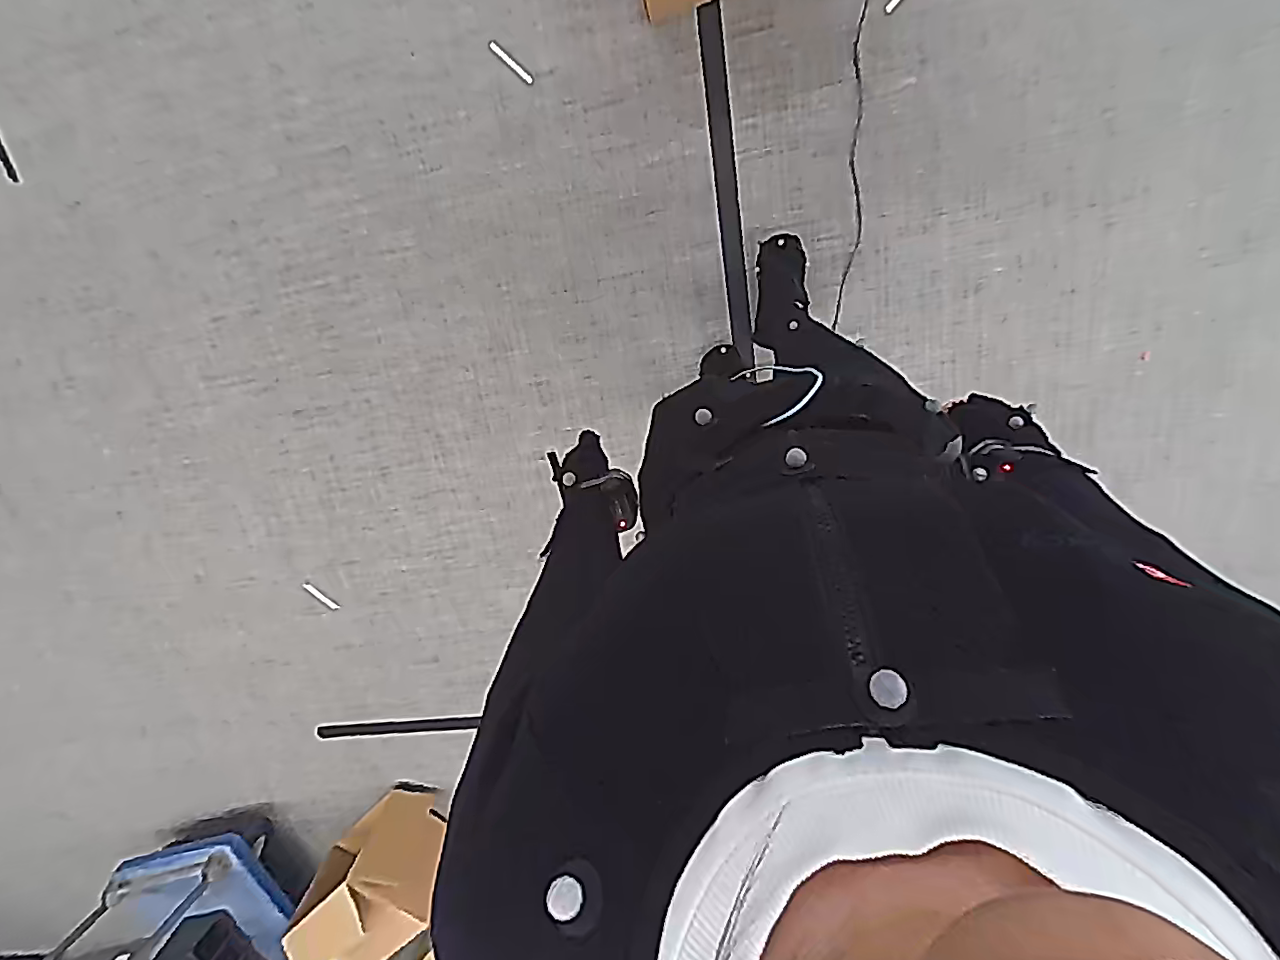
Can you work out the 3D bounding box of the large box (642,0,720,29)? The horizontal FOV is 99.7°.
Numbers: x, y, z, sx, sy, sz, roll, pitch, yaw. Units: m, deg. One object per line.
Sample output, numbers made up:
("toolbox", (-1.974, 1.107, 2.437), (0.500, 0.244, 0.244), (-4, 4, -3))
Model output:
("large box", (0.149, -1.124, 0.962), (0.408, 0.320, 0.320), (-15, 104, 12))
